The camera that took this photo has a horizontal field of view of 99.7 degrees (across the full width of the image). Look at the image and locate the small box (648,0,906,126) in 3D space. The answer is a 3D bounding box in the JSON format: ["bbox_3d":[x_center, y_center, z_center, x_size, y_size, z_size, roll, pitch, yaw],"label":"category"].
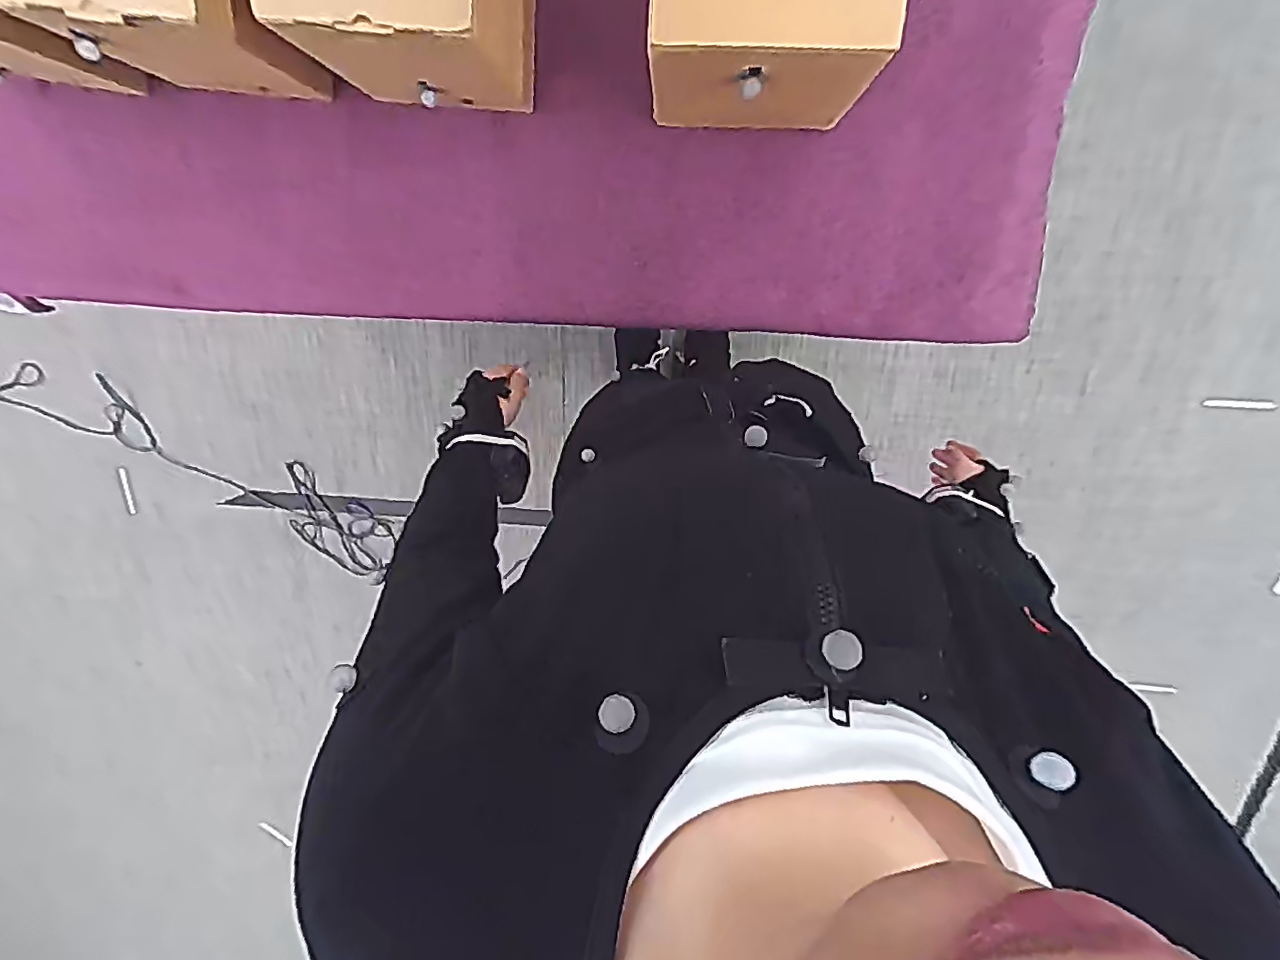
[{"bbox_3d":[0.101,-0.402,0.428,0.179,0.176,0.168,4,107,4],"label":"small box"}]
